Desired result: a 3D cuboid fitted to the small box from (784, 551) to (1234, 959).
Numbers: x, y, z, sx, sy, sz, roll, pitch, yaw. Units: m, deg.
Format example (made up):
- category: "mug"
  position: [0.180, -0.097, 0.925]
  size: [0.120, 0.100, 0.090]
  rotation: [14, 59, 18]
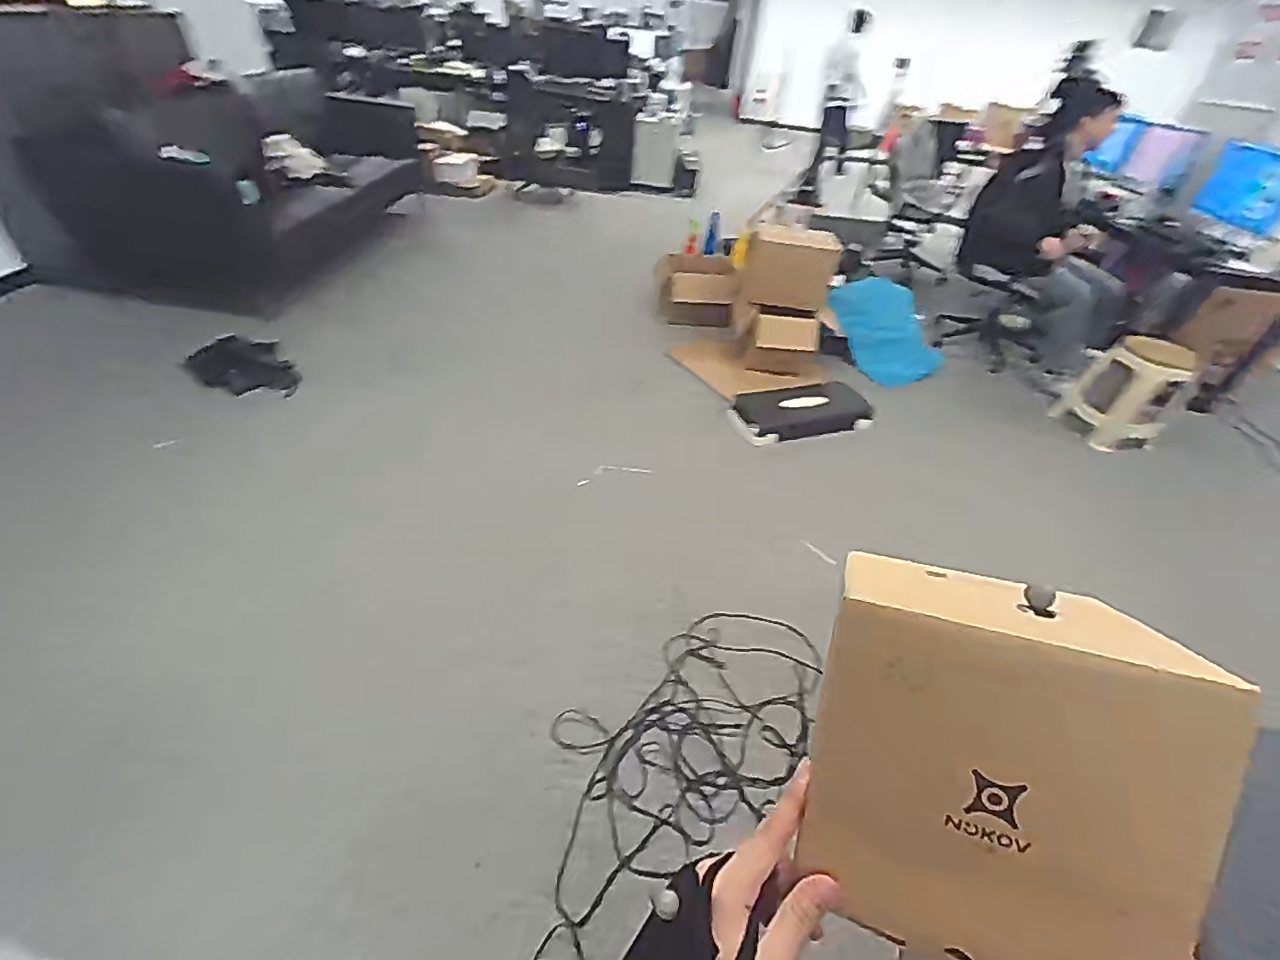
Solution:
- category: "small box"
  position: [0.192, 0.151, 0.336]
  size: [0.168, 0.179, 0.176]
  rotation: [9, 6, 20]
